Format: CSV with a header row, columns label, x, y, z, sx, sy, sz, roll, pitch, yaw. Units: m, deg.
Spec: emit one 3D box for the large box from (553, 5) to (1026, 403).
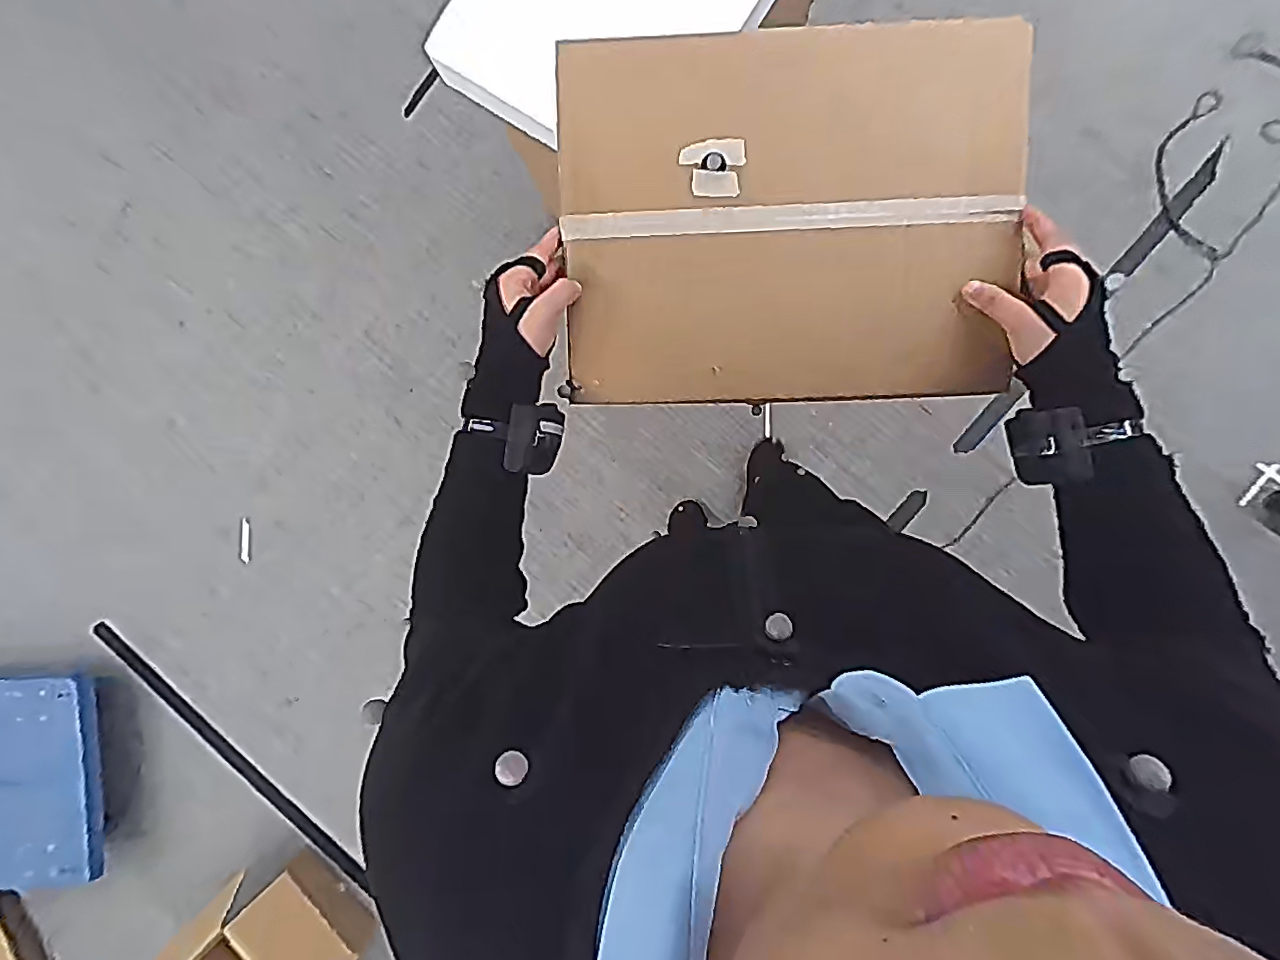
label,x,y,z,sx,sy,sz,roll,pitch,yaw
large box,0.138,-0.253,0.623,0.408,0.320,0.320,-2,96,3
